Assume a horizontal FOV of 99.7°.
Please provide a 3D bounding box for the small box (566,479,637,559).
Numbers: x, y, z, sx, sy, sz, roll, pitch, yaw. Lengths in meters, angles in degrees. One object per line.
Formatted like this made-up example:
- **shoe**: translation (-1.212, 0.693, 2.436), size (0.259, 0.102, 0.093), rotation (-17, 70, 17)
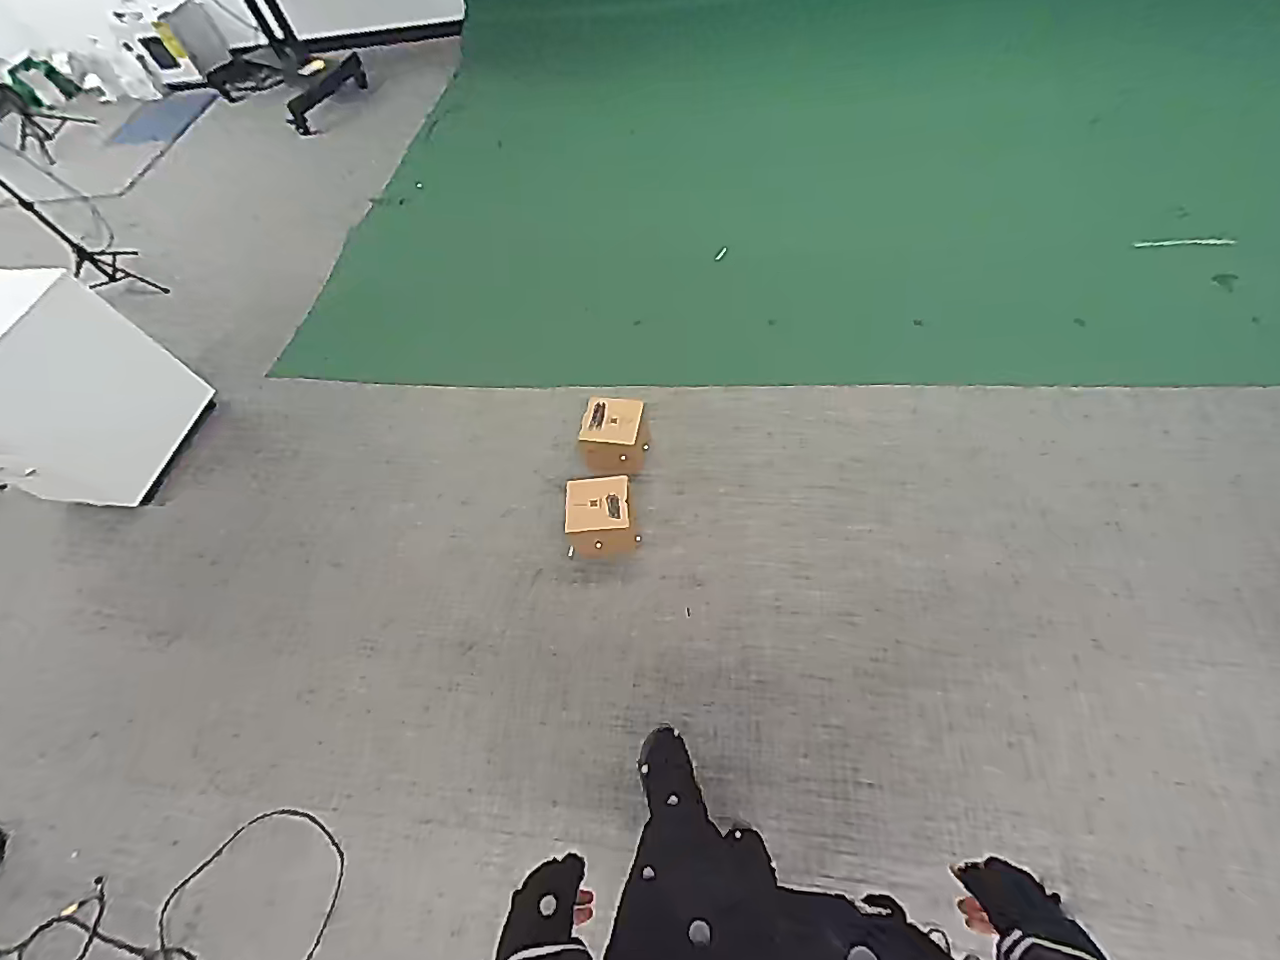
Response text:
- **small box**: translation (-0.103, 0.114, 1.543), size (0.179, 0.176, 0.168), rotation (-6, 58, 6)
